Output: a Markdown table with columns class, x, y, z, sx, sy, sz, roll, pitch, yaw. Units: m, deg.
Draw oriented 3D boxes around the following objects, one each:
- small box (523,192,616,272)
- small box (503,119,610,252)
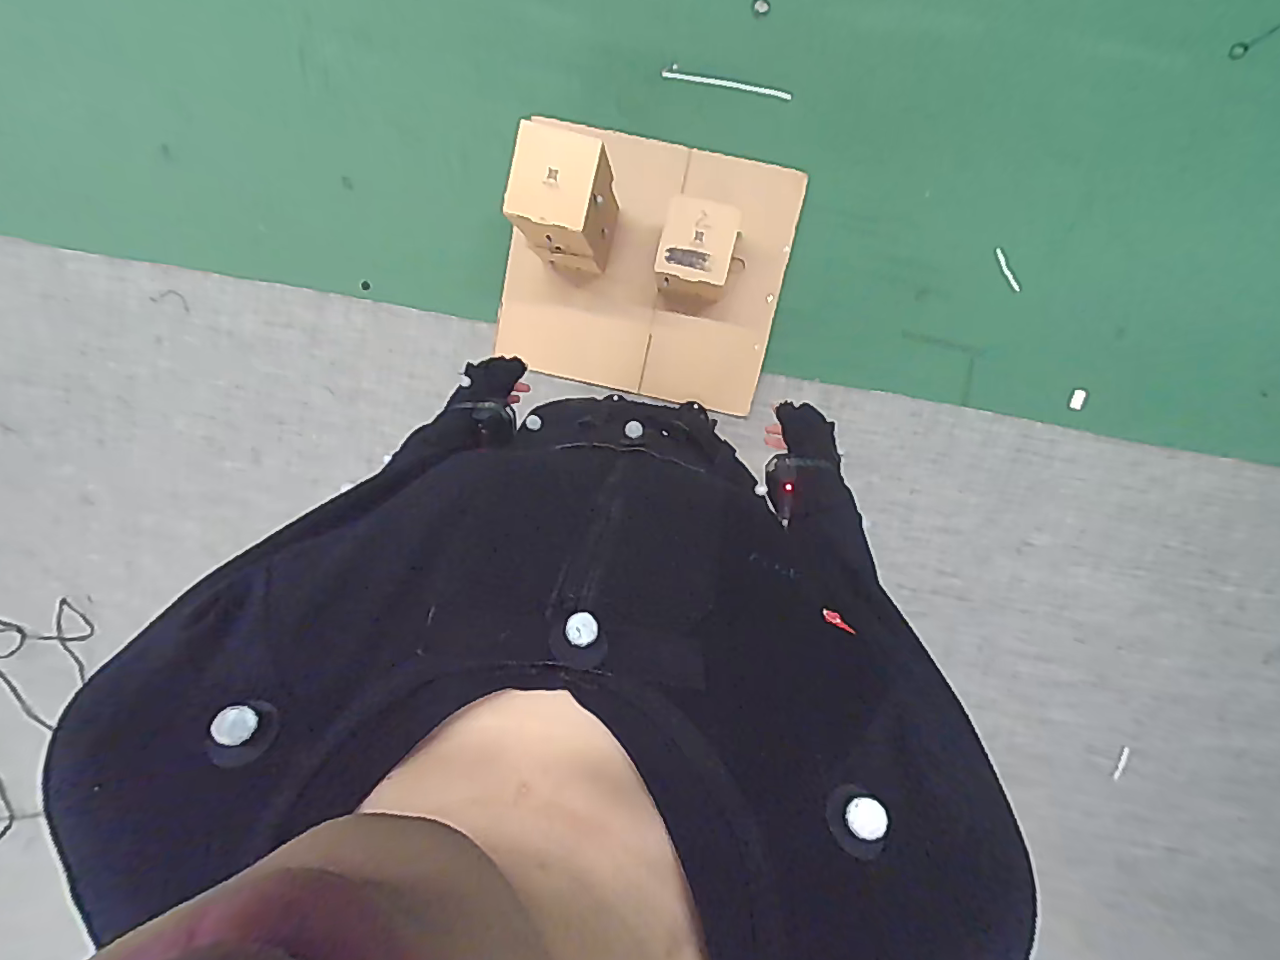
| class | x | y | z | sx | sy | sz | roll | pitch | yaw |
| --- | --- | --- | --- | --- | --- | --- | --- | --- | --- |
| small box | -0.160 | -0.612 | 1.282 | 0.168 | 0.176 | 0.179 | 14 | 99 | 2 |
| small box | -0.164 | -0.598 | 1.120 | 0.168 | 0.176 | 0.179 | 15 | 100 | 1 |
